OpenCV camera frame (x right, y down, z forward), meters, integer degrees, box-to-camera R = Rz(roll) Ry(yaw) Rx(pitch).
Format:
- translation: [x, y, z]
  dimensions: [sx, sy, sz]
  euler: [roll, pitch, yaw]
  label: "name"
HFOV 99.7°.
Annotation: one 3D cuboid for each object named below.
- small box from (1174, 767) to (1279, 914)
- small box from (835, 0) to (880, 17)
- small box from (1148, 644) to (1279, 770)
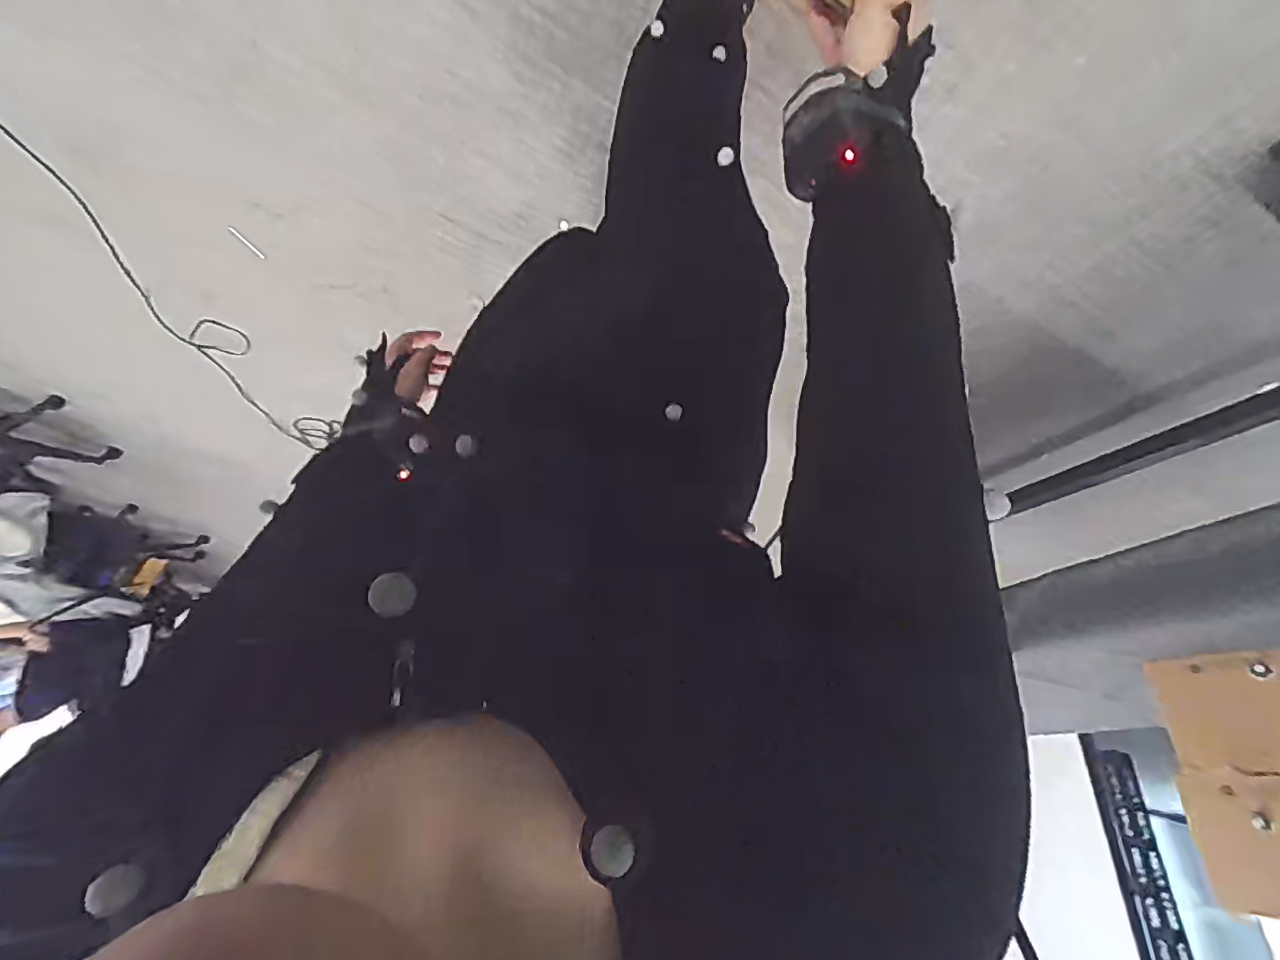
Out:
- translation: [0.911, 0.503, 0.749]
  dimensions: [0.179, 0.176, 0.168]
  euler: [21, 146, -19]
  label: "small box"
- translation: [0.139, -0.481, 0.373]
  dimensions: [0.168, 0.176, 0.179]
  euler: [18, 134, -23]
  label: "small box"
- translation: [0.932, 0.355, 0.819]
  dimensions: [0.179, 0.176, 0.168]
  euler: [22, 147, -22]
  label: "small box"
